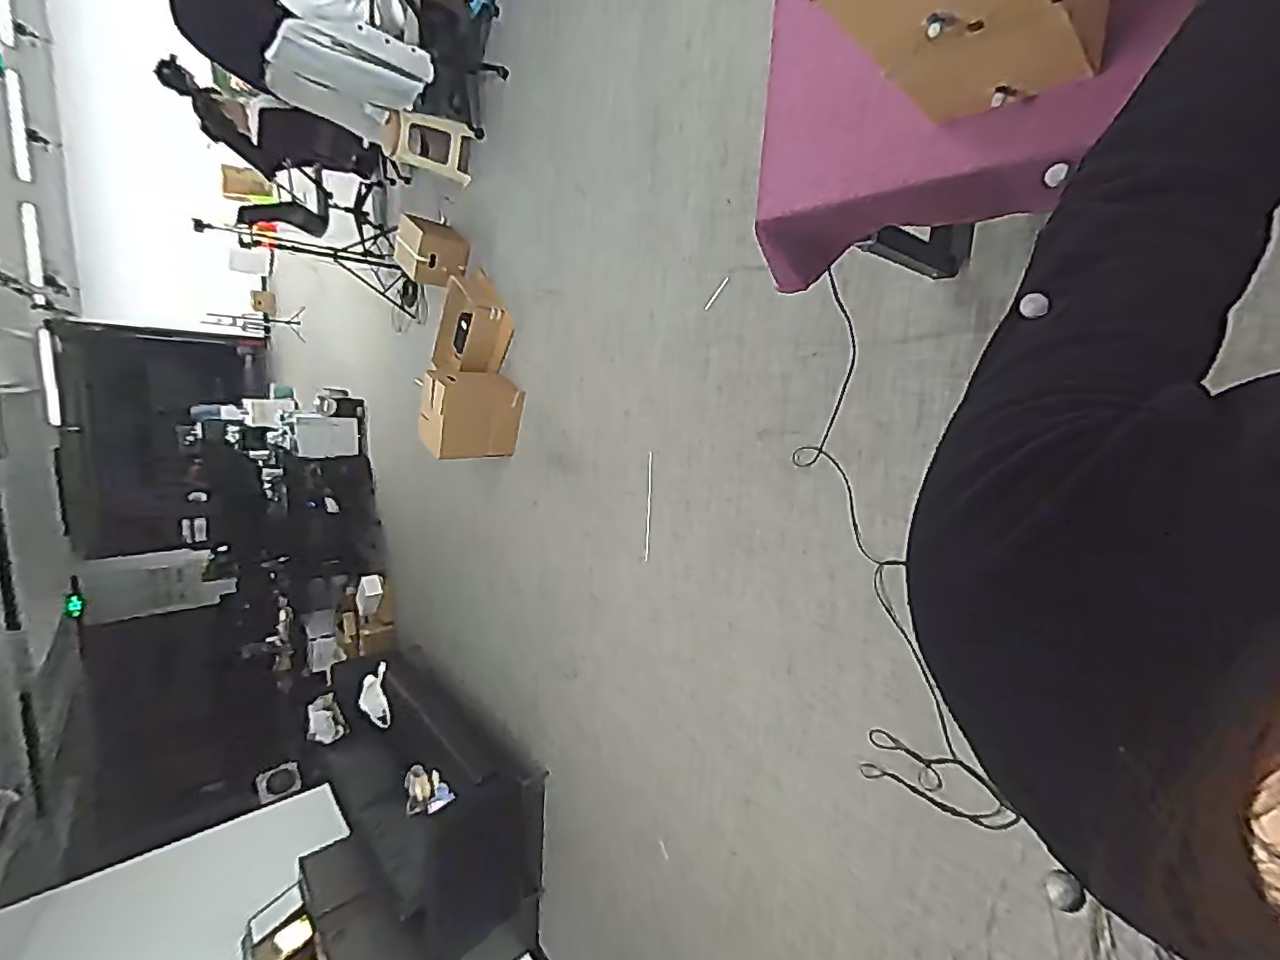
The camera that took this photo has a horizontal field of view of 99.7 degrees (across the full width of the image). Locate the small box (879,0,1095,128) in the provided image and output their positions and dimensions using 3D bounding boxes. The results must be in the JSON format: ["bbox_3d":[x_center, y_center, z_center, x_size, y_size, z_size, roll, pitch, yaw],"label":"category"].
[{"bbox_3d":[0.404,-0.544,0.619,0.179,0.176,0.168,12,102,47],"label":"small box"}]
